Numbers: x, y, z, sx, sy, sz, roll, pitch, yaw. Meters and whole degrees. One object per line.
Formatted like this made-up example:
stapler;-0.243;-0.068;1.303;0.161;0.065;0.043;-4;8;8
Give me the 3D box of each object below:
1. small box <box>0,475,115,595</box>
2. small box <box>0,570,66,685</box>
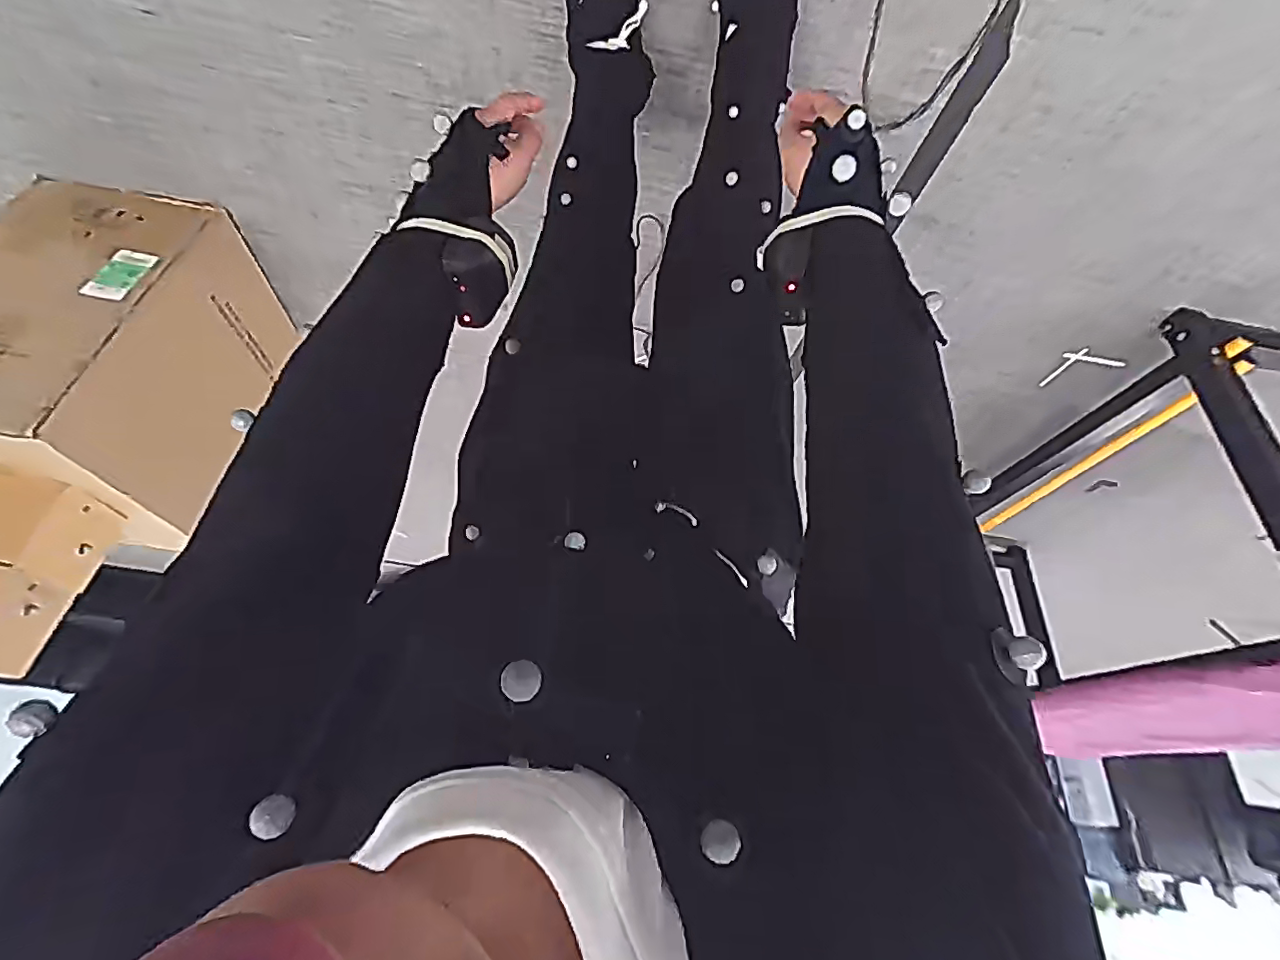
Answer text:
small box;-1.165;0.104;1.024;0.179;0.176;0.168;11;150;-4
small box;-1.190;0.244;0.940;0.179;0.176;0.168;12;151;-7
